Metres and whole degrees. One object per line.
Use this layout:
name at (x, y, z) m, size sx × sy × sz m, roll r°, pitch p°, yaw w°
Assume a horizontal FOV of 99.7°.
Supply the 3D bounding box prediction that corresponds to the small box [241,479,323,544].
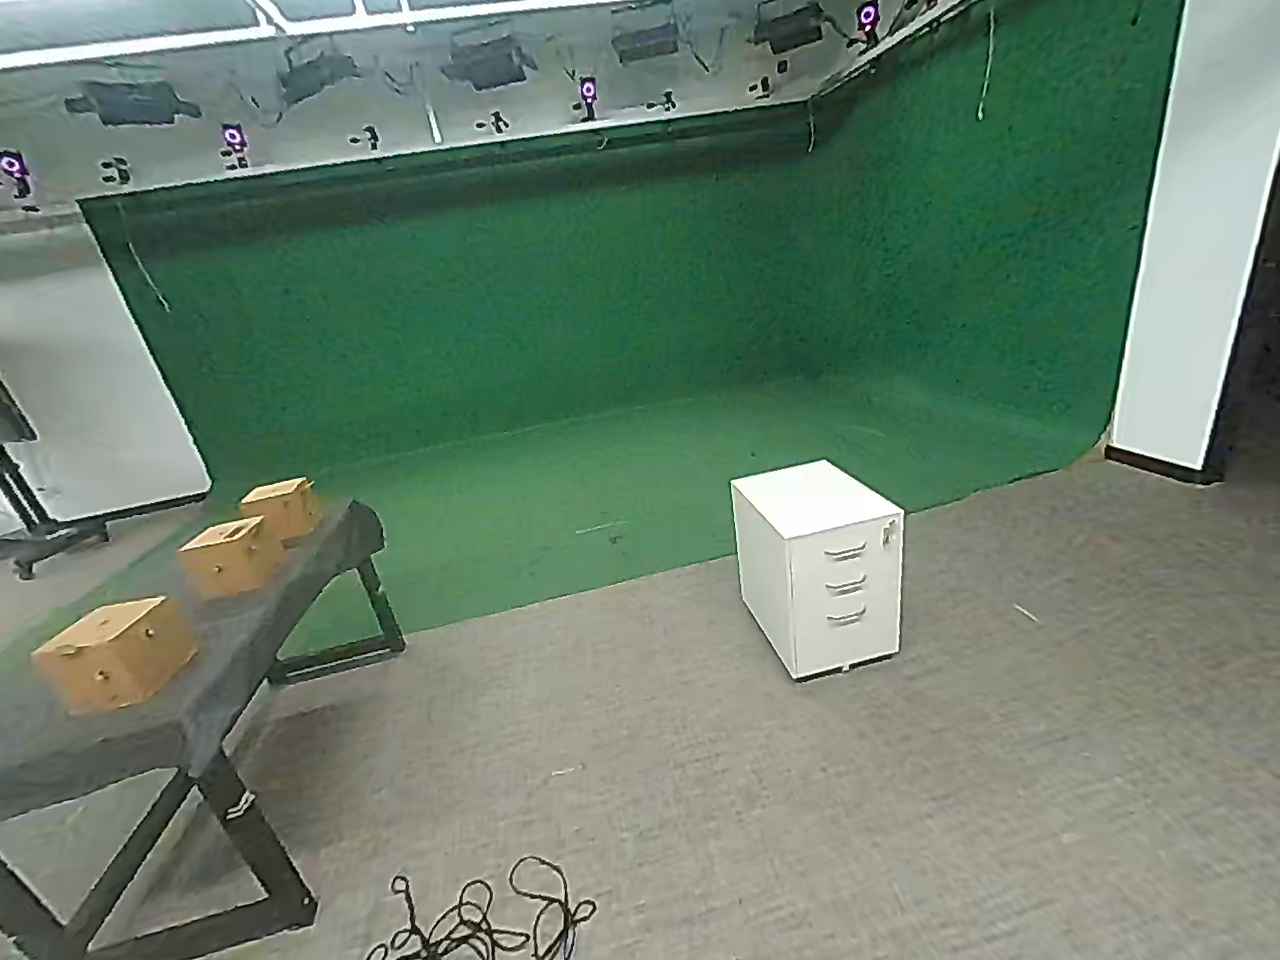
small box at (-1.290, 0.116, 1.962) m, size 0.179 × 0.176 × 0.168 m, roll -14°, pitch 22°, yaw -12°

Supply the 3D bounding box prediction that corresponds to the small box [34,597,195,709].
small box at (-1.165, 0.394, 1.220) m, size 0.168 × 0.176 × 0.179 m, roll -9°, pitch 20°, yaw -1°
